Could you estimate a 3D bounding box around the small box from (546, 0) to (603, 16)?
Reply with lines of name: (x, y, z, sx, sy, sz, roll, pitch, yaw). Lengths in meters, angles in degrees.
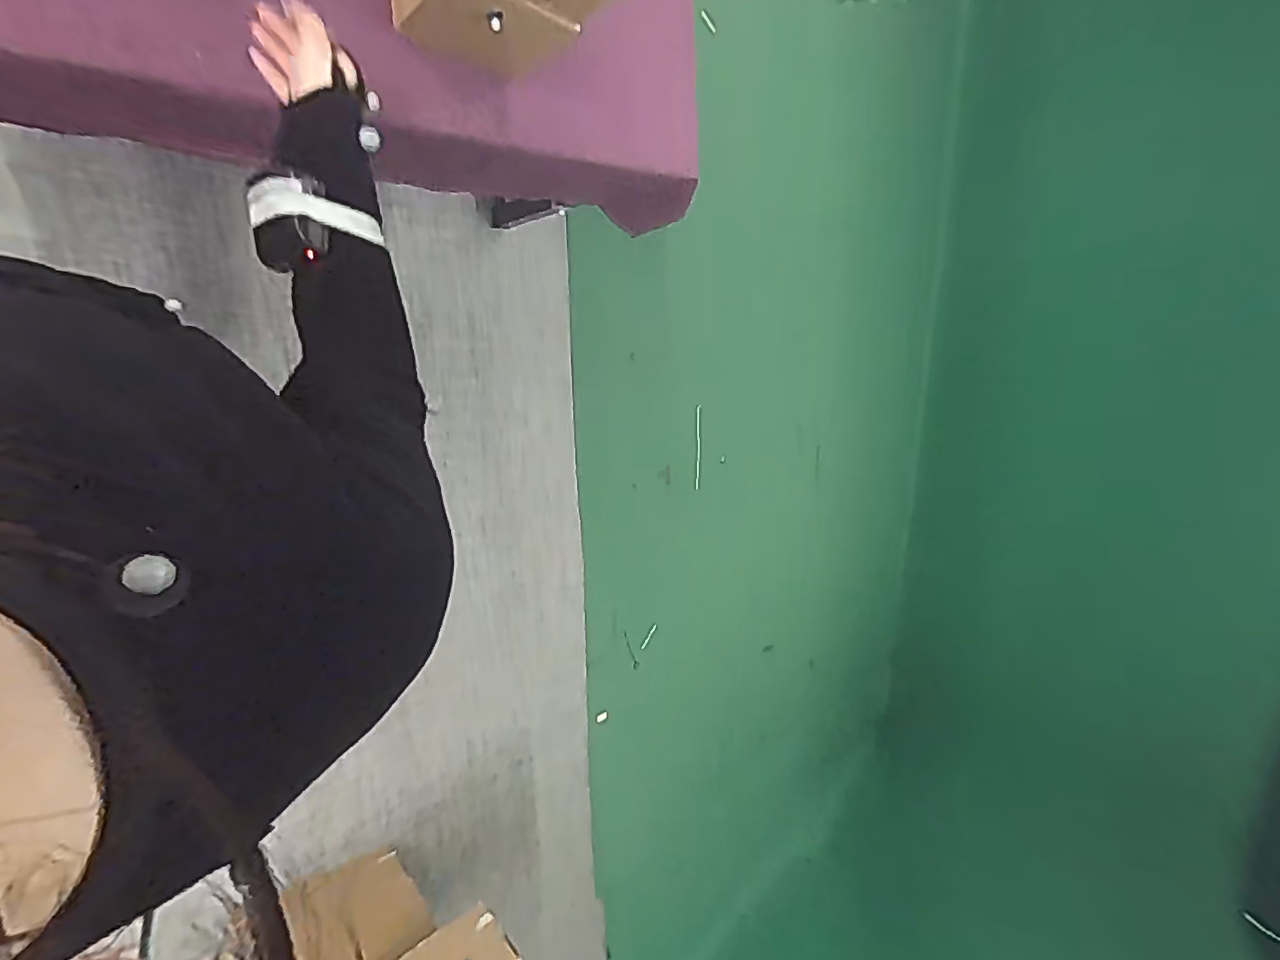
small box: (-0.078, -0.625, 0.543, 0.168, 0.176, 0.179, -10, 106, -42)

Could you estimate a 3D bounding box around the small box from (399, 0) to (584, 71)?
small box: (-0.187, -0.645, 0.663, 0.179, 0.176, 0.168, -10, 107, -41)
